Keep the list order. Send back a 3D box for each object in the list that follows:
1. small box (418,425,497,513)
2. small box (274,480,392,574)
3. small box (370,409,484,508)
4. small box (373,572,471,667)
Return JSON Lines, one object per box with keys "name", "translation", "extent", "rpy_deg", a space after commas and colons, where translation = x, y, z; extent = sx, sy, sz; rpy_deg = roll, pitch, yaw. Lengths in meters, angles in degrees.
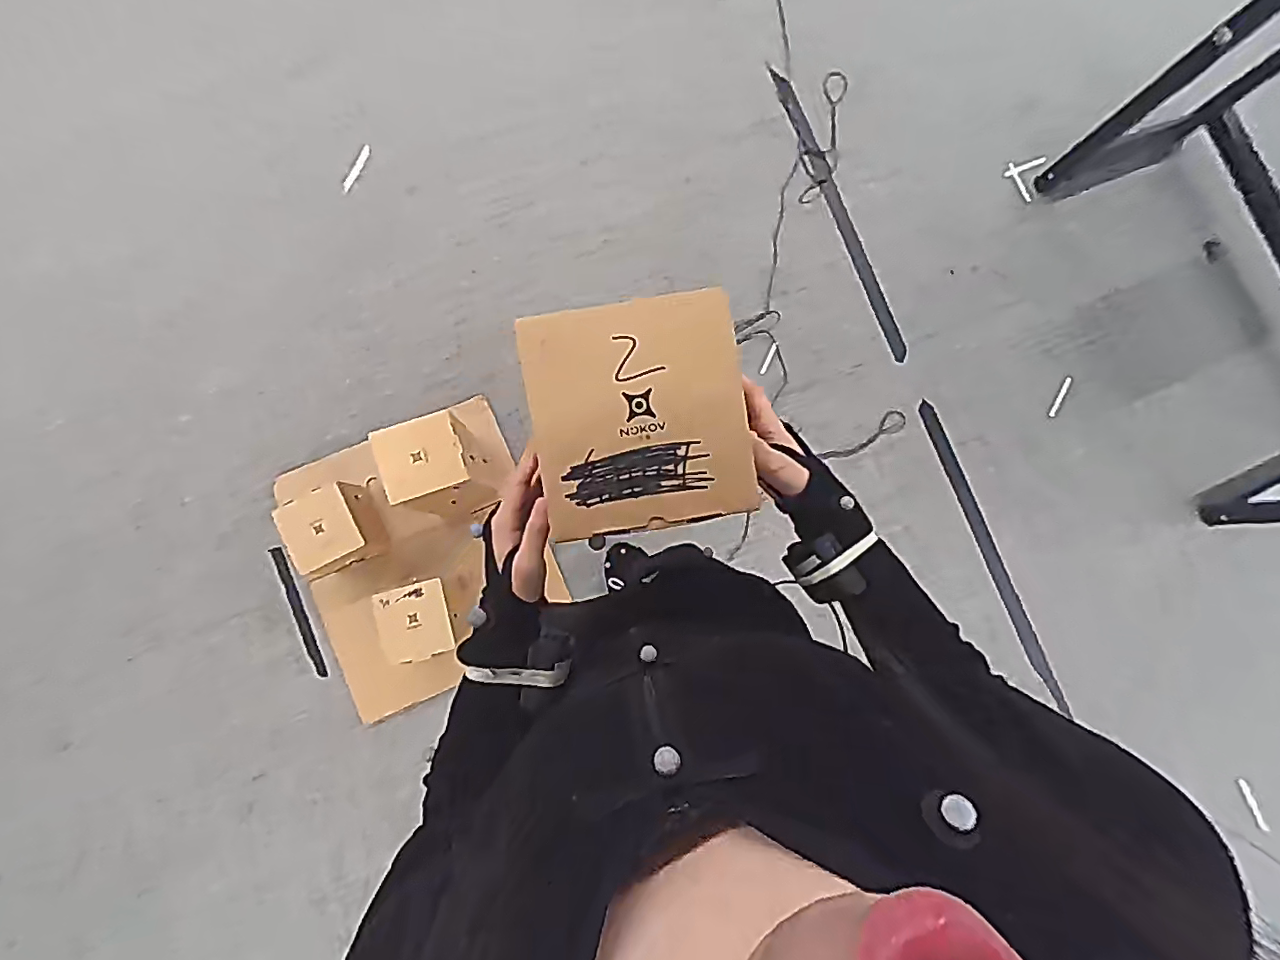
{"name": "small box", "translation": [-0.489, -0.022, 1.393], "extent": [0.179, 0.176, 0.168], "rpy_deg": [-23, 87, -8]}
{"name": "small box", "translation": [-0.761, 0.120, 1.357], "extent": [0.168, 0.176, 0.179], "rpy_deg": [-28, 86, -6]}
{"name": "small box", "translation": [-0.476, -0.042, 1.232], "extent": [0.179, 0.176, 0.168], "rpy_deg": [-19, 85, -8]}
{"name": "small box", "translation": [-0.533, 0.339, 1.346], "extent": [0.168, 0.176, 0.179], "rpy_deg": [-14, 86, -6]}
